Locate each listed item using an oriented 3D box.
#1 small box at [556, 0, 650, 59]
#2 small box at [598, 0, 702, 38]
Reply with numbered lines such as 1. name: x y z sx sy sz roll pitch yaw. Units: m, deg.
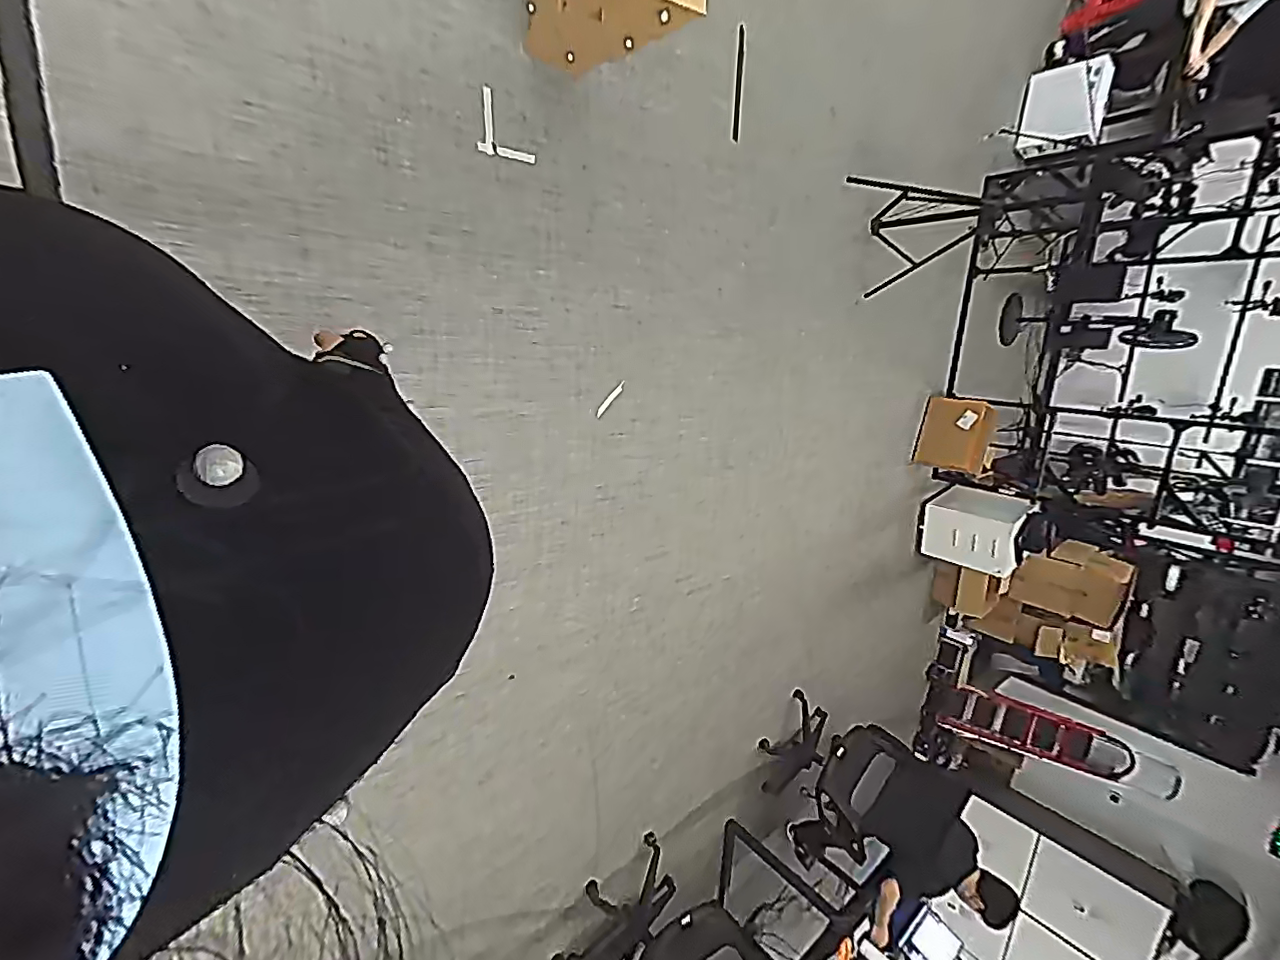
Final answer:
1. small box: -0.084 -1.181 1.329 0.179 0.176 0.168 -4 104 -41
2. small box: 0.022 -1.134 1.214 0.179 0.176 0.168 -18 114 -37
